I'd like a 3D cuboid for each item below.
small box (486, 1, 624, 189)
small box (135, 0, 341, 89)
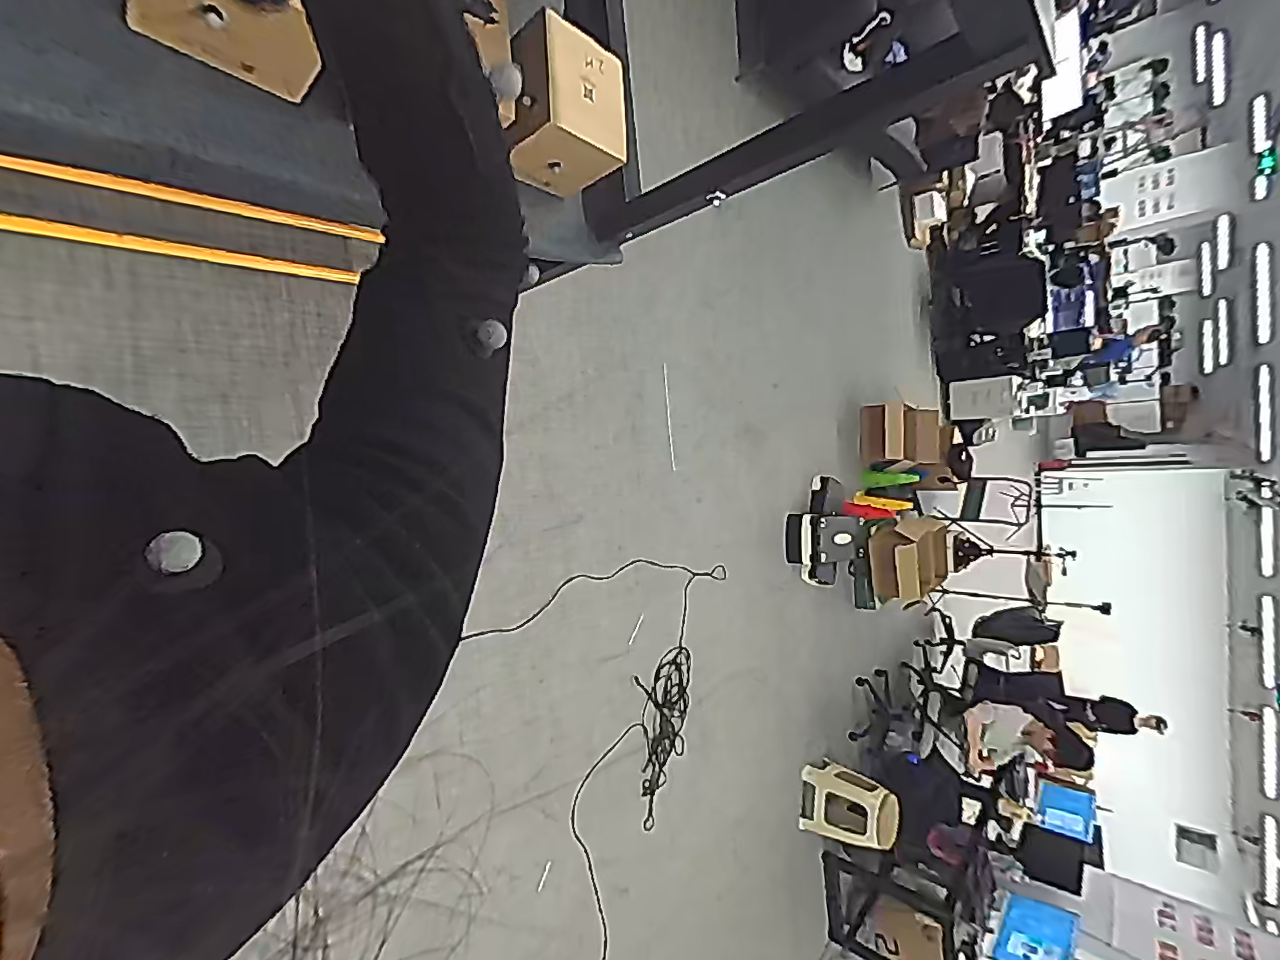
[{"bbox_3d":[-0.145,-0.629,0.916,0.168,0.176,0.179,-4,92,-48],"label":"small box"},{"bbox_3d":[-0.444,-0.586,0.595,0.168,0.176,0.179,1,89,-47],"label":"small box"}]
